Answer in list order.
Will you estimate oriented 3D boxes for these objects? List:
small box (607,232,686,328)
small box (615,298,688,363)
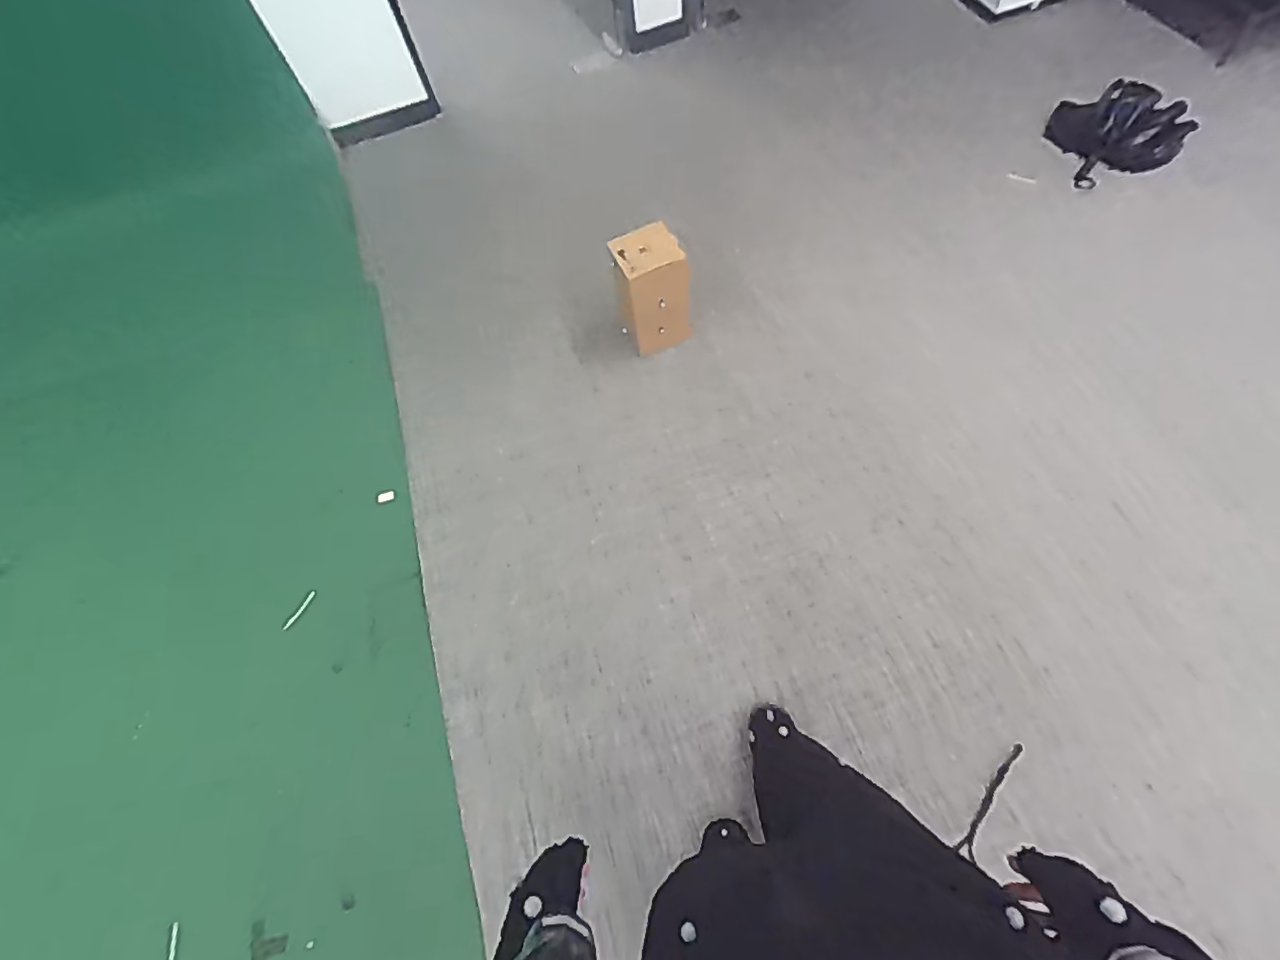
[{"bbox_3d":[0.022,-0.576,1.568,0.179,0.176,0.168,-23,63,-6],"label":"small box"},{"bbox_3d":[0.038,-0.507,1.715,0.179,0.176,0.168,-28,64,-8],"label":"small box"}]
